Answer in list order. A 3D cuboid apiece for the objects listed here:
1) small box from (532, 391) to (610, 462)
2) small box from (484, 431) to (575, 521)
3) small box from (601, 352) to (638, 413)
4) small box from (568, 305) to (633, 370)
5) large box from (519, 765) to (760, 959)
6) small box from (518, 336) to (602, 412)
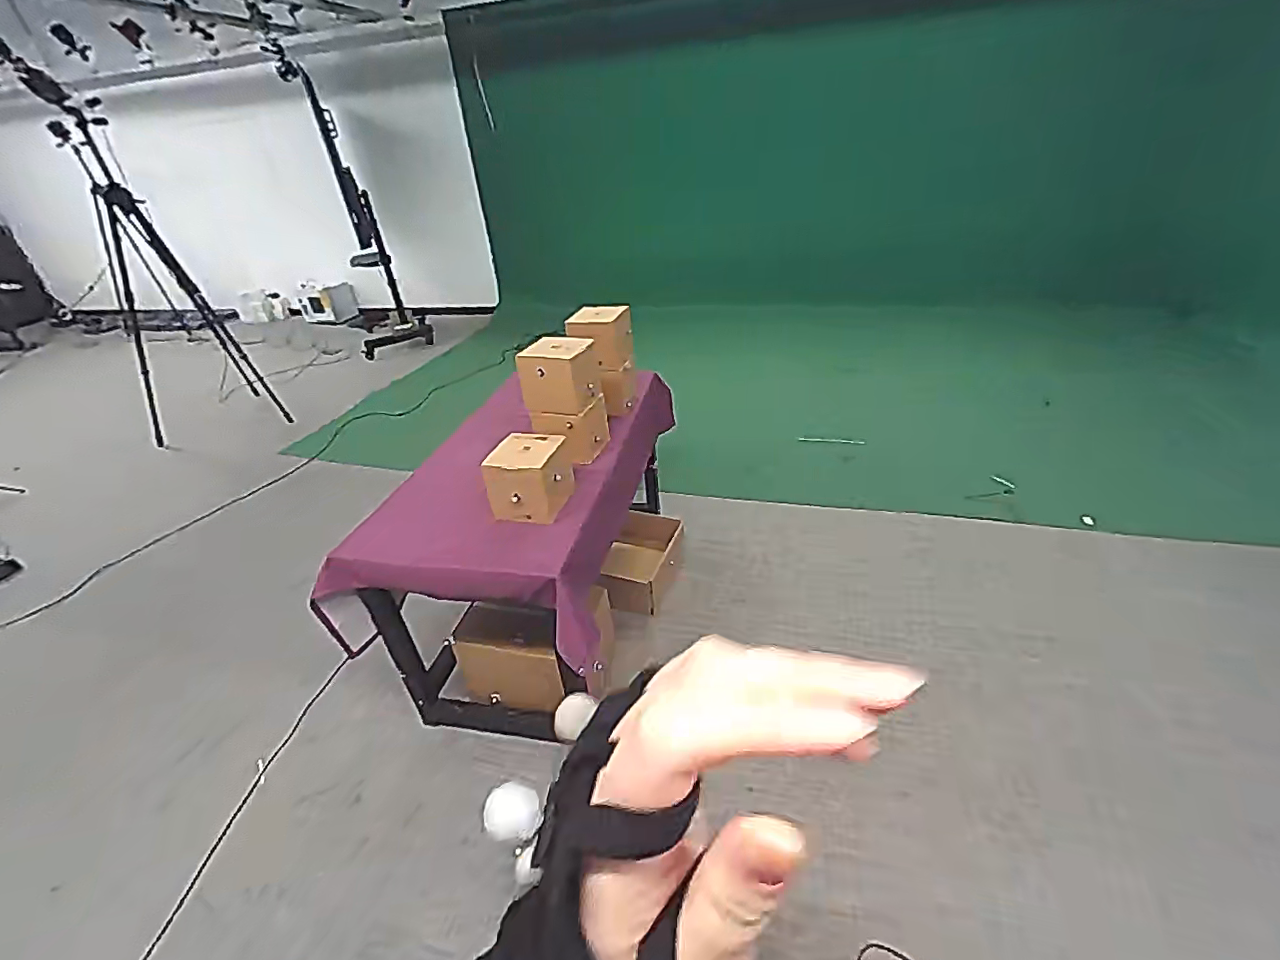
[{"bbox_3d":[-0.207,-0.170,1.663,0.179,0.176,0.168,8,36,19],"label":"small box"},{"bbox_3d":[-0.281,-0.010,1.423,0.168,0.176,0.179,5,35,15],"label":"small box"},{"bbox_3d":[-0.113,-0.346,1.915,0.179,0.176,0.168,4,34,16],"label":"small box"},{"bbox_3d":[-0.127,-0.485,1.830,0.168,0.176,0.179,5,35,17],"label":"small box"},{"bbox_3d":[0.003,0.929,1.152,0.320,0.320,0.408,-27,38,-31],"label":"large box"},{"bbox_3d":[-0.226,-0.310,1.576,0.179,0.176,0.168,9,36,20],"label":"small box"}]
